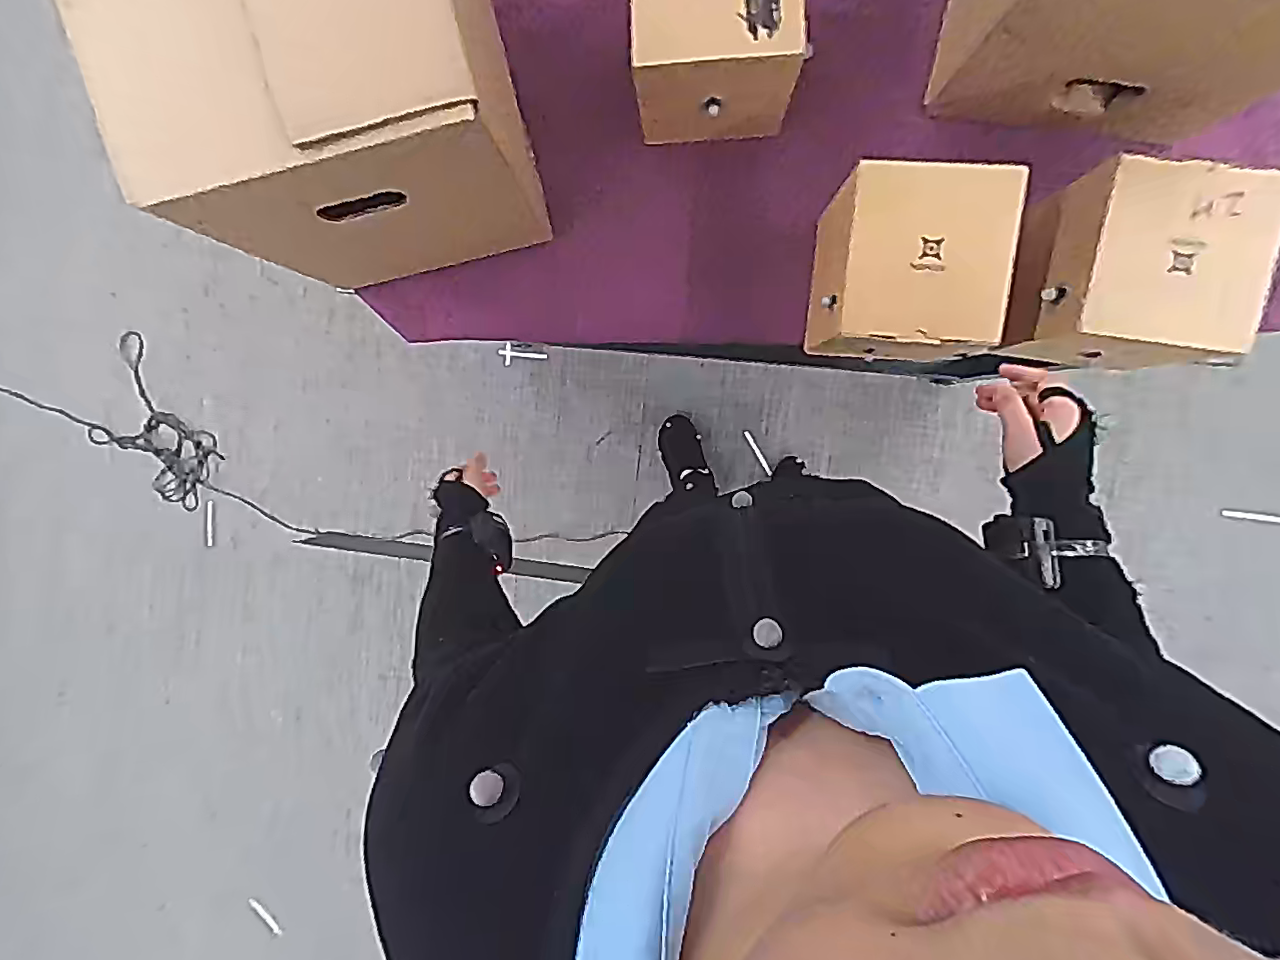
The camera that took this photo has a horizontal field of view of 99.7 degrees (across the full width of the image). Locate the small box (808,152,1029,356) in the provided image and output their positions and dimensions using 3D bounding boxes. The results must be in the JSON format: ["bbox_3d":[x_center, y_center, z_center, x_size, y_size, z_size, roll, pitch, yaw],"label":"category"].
[{"bbox_3d":[0.301,-0.245,0.624,0.168,0.176,0.179,4,98,4],"label":"small box"}]

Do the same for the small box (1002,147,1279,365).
[{"bbox_3d":[0.537,-0.232,0.604,0.168,0.176,0.179,9,96,4],"label":"small box"}]
